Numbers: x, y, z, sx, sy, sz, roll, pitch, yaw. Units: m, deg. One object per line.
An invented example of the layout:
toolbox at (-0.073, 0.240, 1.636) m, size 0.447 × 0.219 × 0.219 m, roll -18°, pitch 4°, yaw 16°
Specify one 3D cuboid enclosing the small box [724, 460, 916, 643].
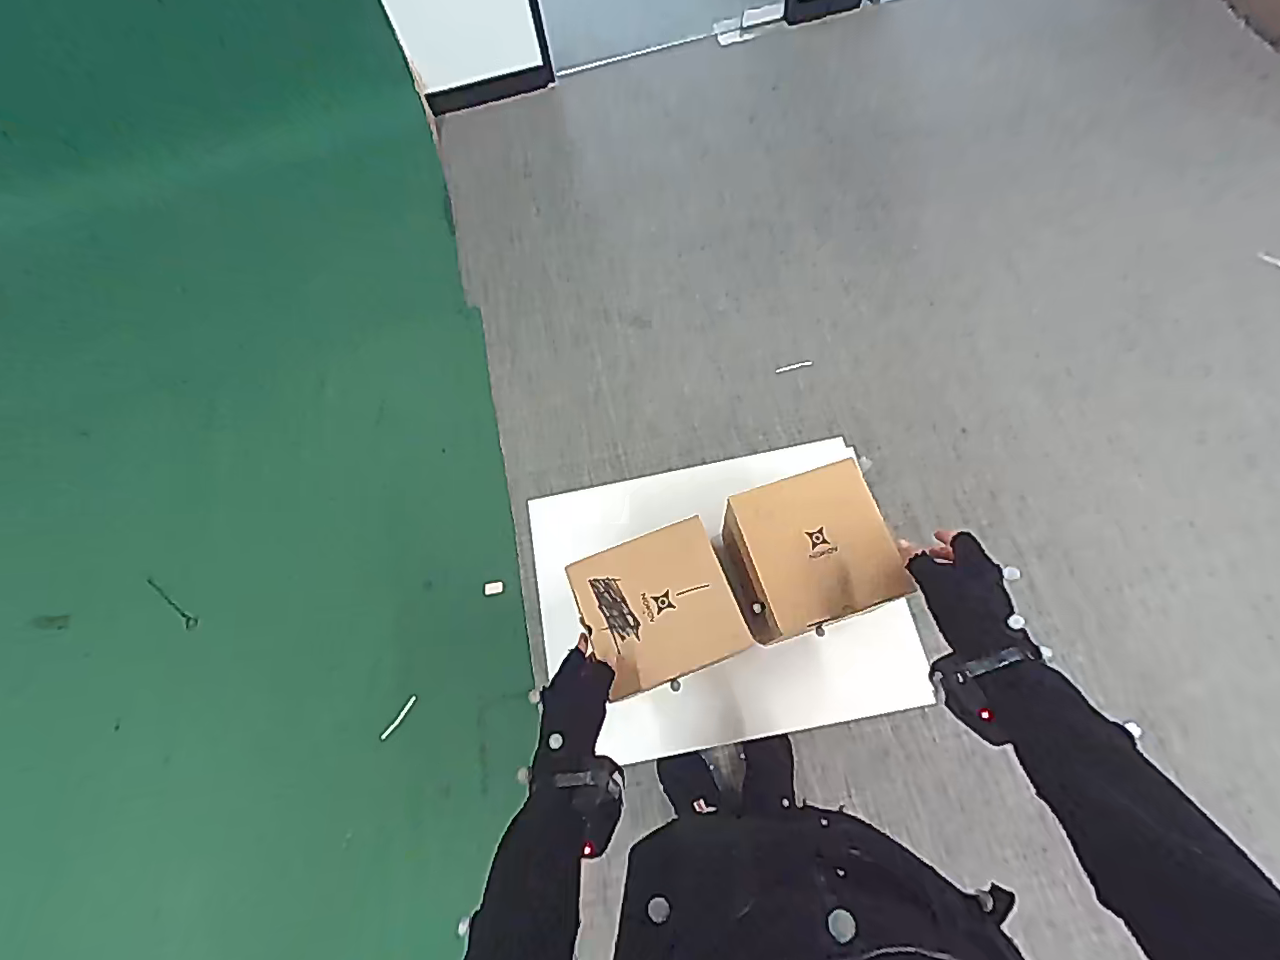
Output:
small box at (0.217, 0.102, 0.710) m, size 0.168 × 0.176 × 0.179 m, roll -18°, pitch 69°, yaw -1°
